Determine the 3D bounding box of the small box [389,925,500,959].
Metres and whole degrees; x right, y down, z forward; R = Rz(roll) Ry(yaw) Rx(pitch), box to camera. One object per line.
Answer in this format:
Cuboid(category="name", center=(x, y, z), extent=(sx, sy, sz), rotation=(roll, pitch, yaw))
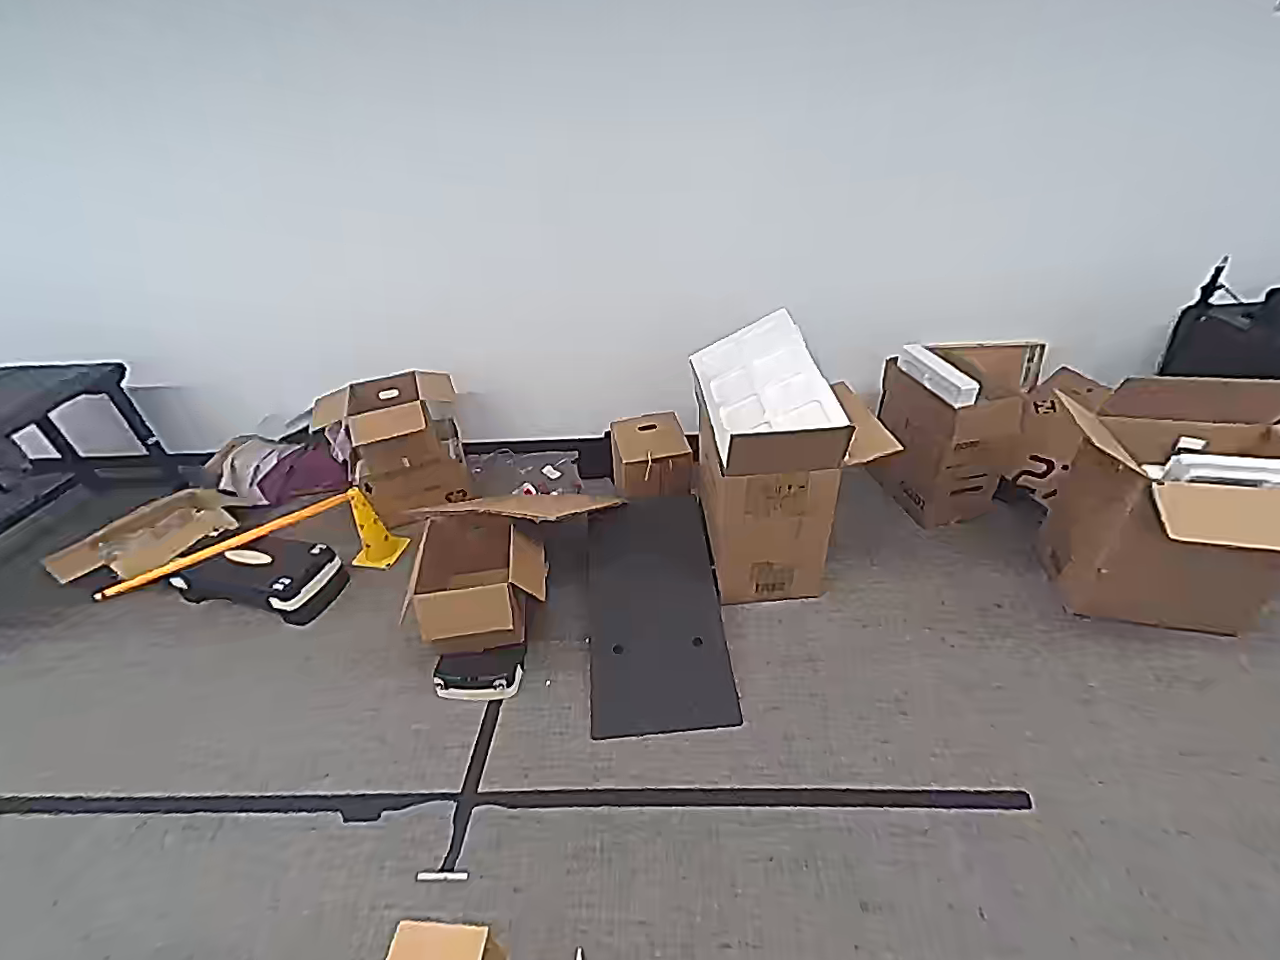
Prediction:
Cuboid(category="small box", center=(-0.342, 0.898, 0.917), extent=(0.168, 0.176, 0.179), rotation=(0, 36, 5))
